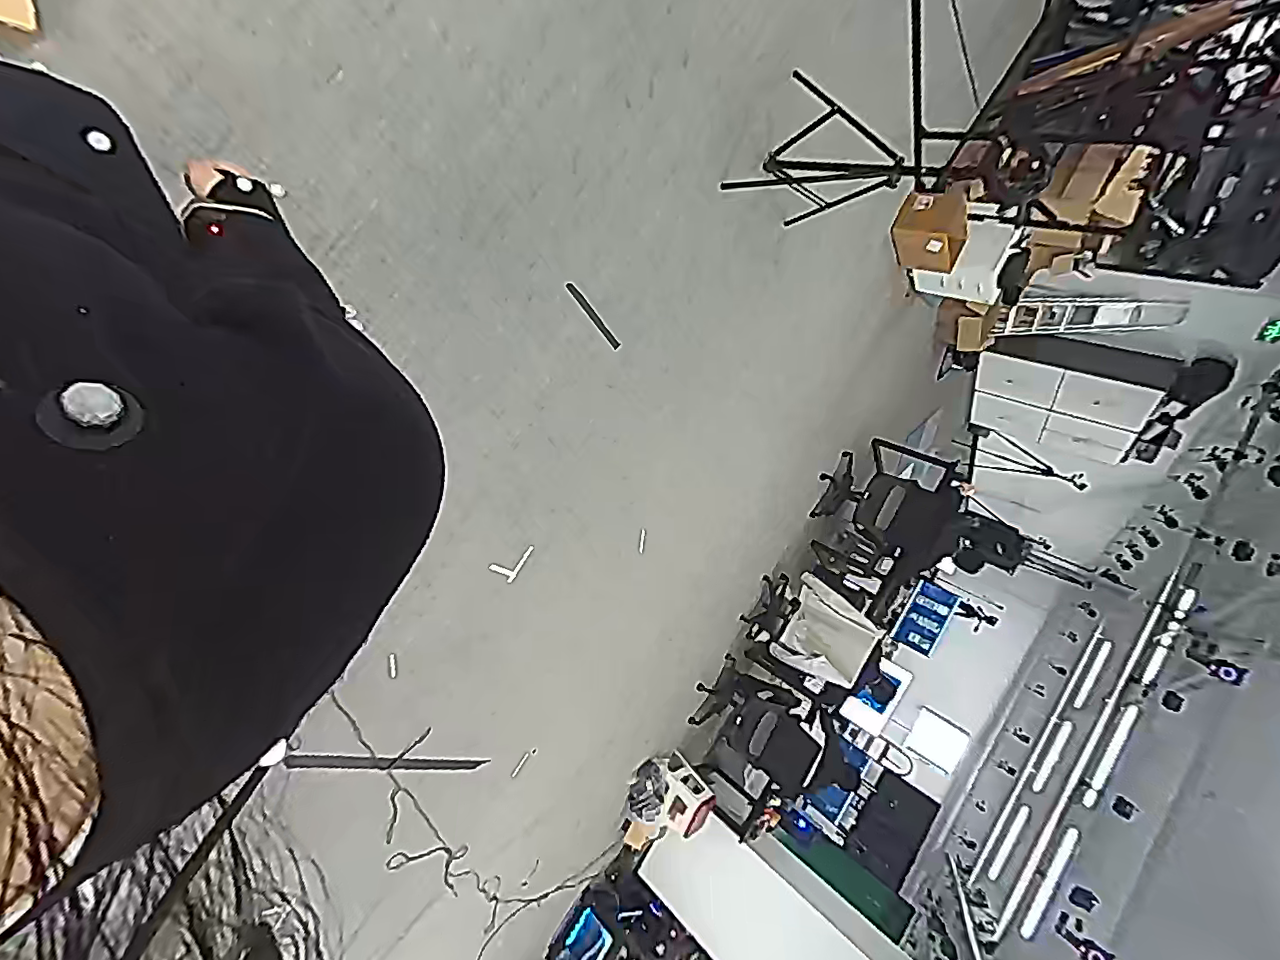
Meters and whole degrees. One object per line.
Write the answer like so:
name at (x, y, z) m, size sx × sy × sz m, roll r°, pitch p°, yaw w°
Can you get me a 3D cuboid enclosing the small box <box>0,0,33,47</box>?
small box at (-0.986, -0.738, 0.749) m, size 0.168 × 0.176 × 0.179 m, roll -15°, pitch 123°, yaw -48°
